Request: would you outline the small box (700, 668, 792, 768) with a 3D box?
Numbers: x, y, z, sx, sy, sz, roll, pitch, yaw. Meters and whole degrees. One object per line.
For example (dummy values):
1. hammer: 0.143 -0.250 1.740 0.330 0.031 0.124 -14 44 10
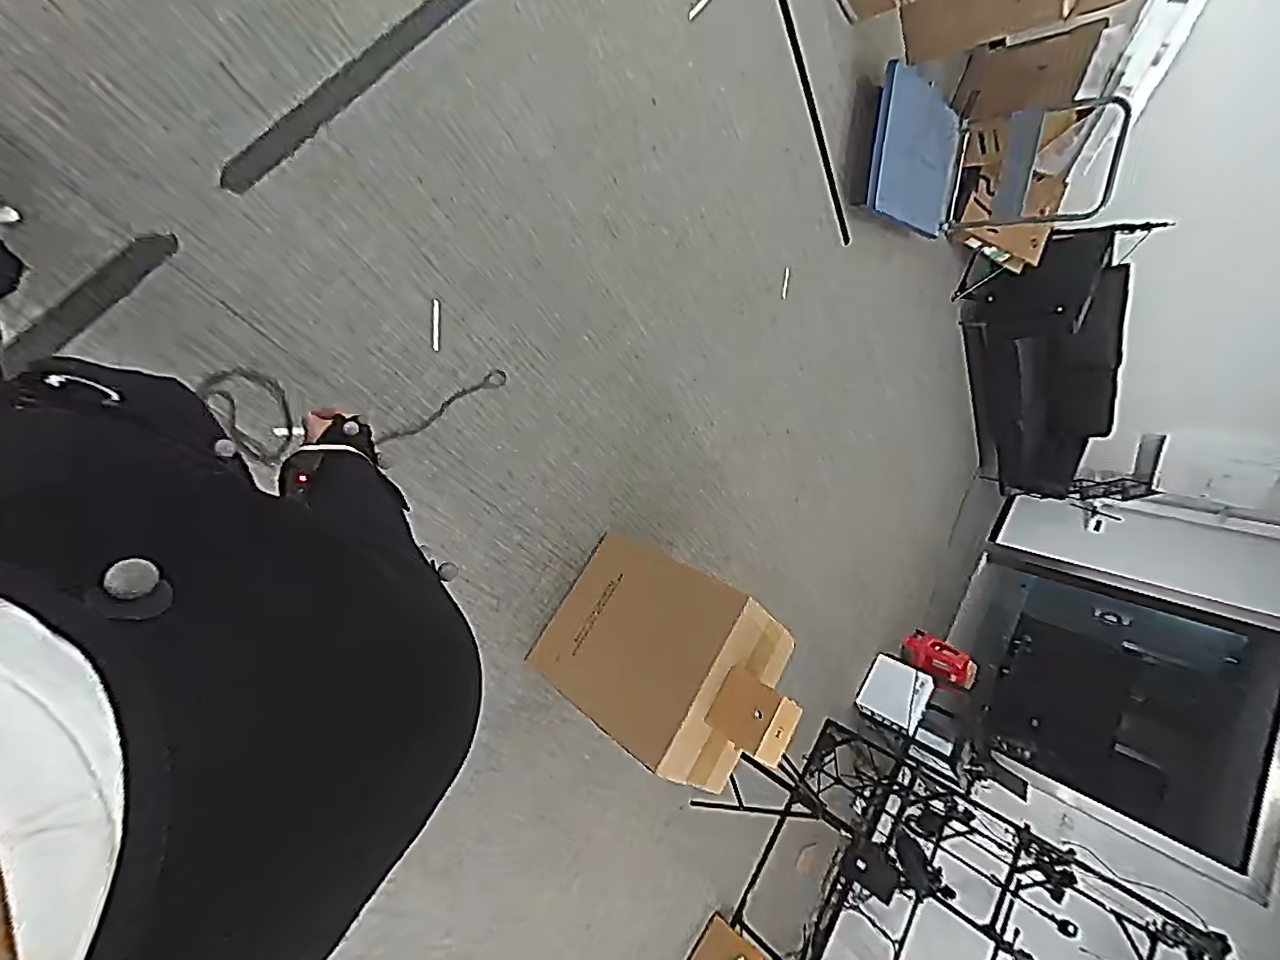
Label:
1. small box: 0.287 0.654 1.494 0.179 0.176 0.168 -58 135 -16
